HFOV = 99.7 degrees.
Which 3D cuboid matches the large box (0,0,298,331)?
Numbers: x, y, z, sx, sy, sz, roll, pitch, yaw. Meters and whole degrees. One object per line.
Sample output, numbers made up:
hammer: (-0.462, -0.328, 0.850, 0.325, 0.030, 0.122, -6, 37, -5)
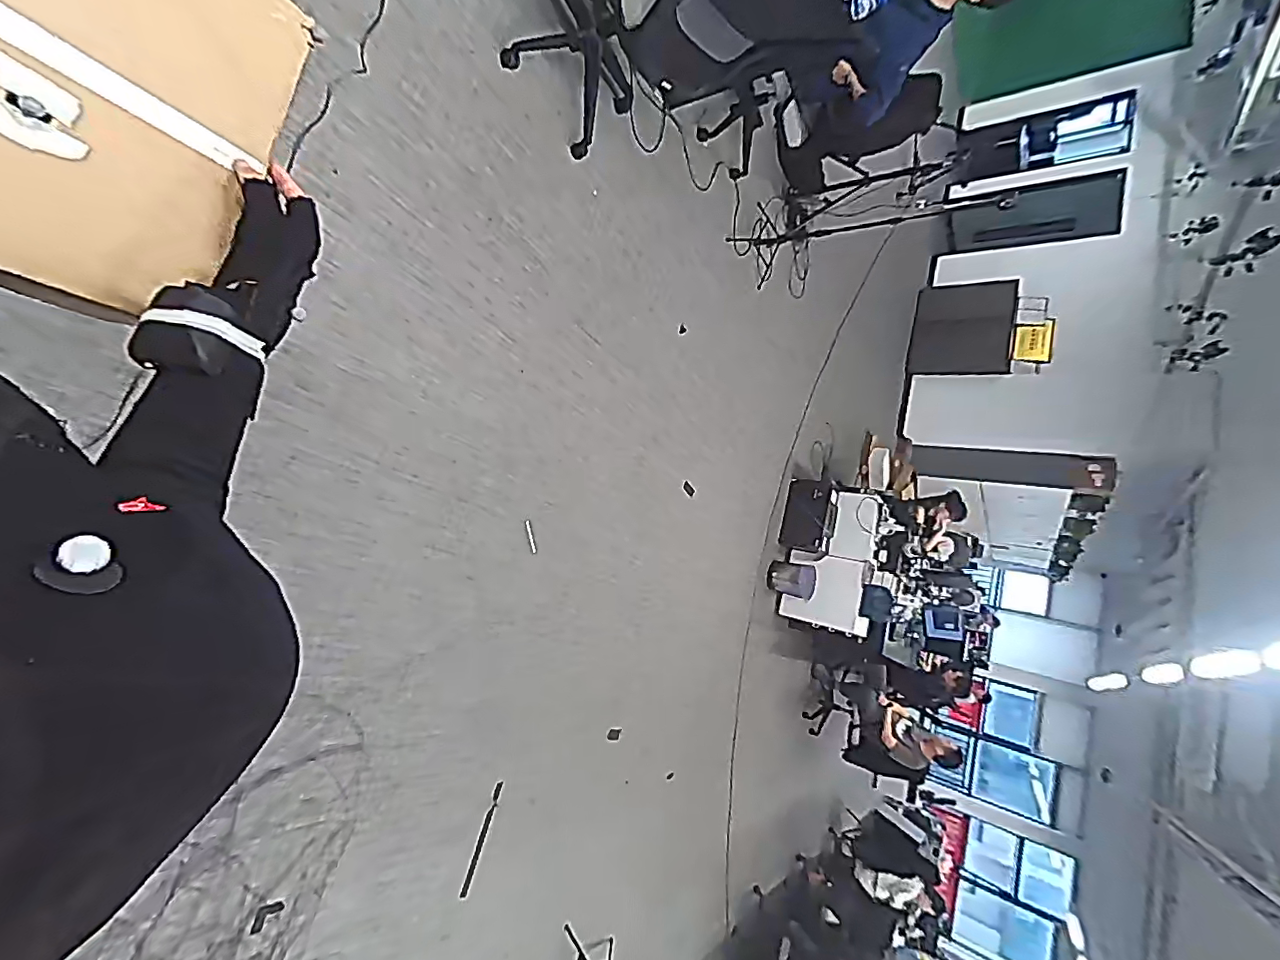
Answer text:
large box: (-0.583, -0.346, 0.413, 0.408, 0.320, 0.320, 21, 86, -58)
